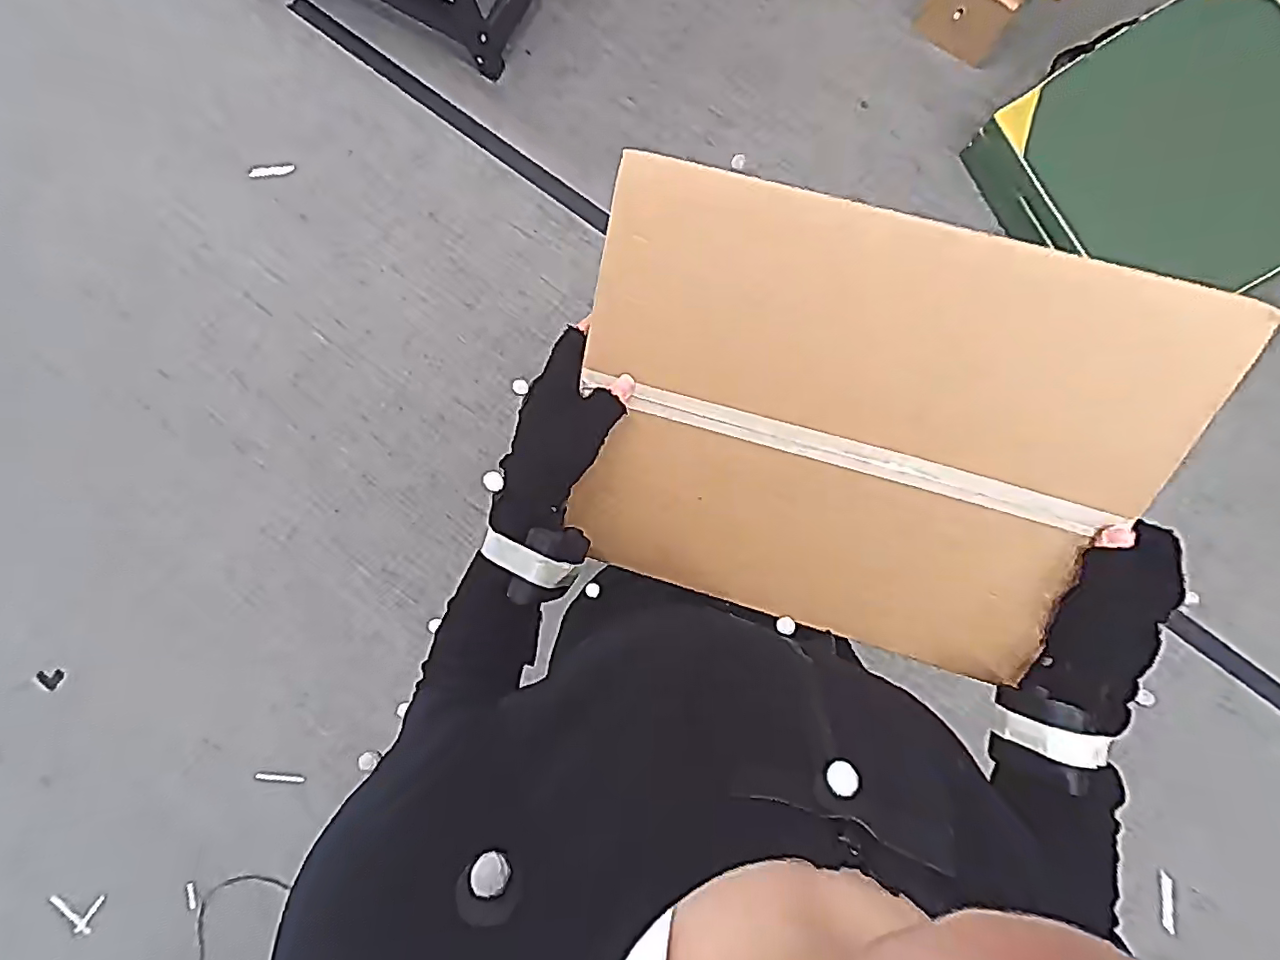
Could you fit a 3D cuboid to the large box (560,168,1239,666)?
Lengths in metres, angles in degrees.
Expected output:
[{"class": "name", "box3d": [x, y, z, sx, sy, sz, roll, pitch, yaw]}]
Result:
[{"class": "large box", "box3d": [0.173, -0.085, 0.544, 0.408, 0.320, 0.320, 16, 117, 5]}]
